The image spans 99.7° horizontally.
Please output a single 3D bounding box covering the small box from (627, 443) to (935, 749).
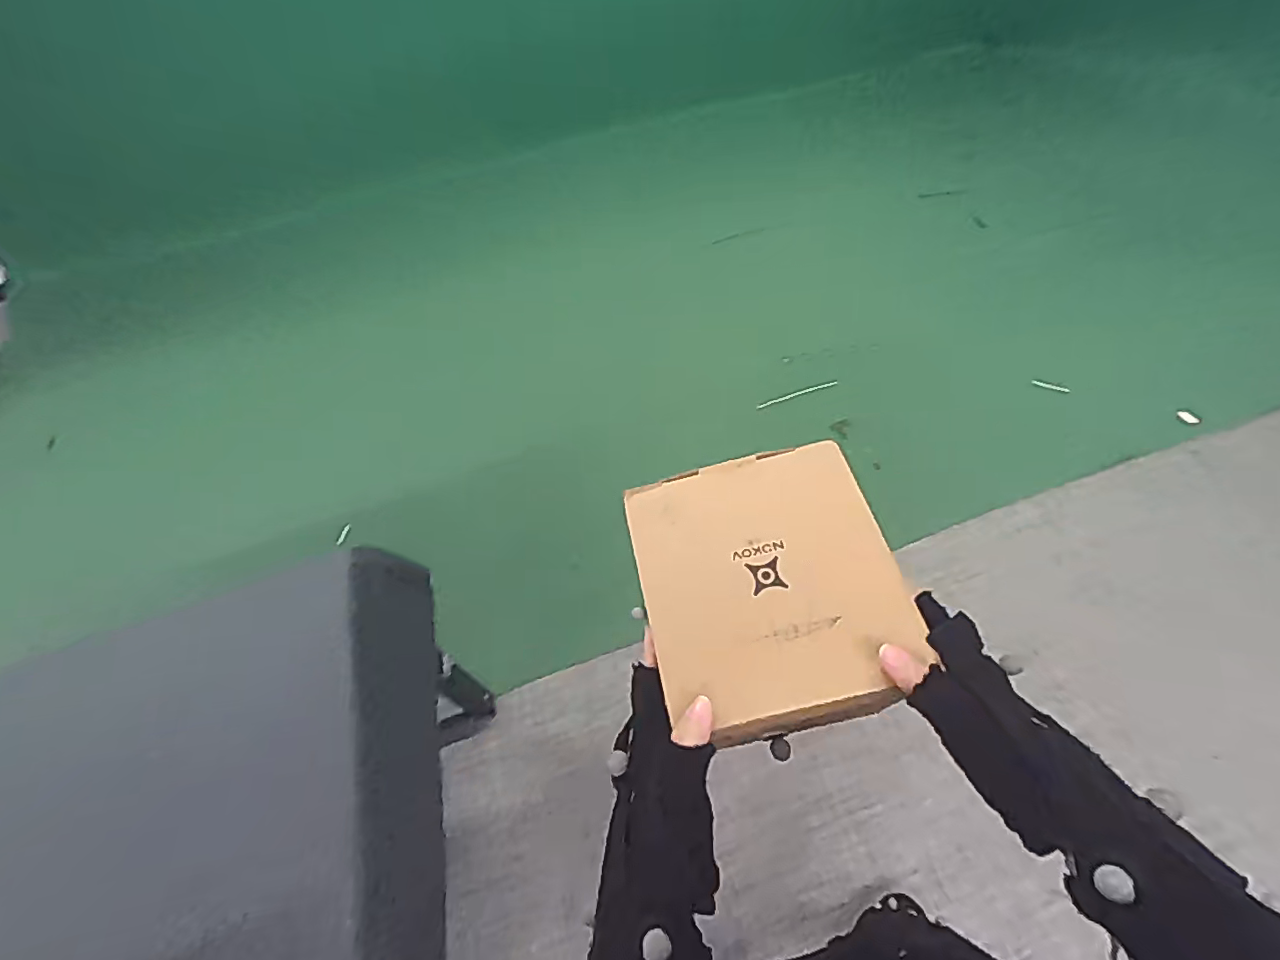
[{"bbox_3d":[0.092,0.100,0.429,0.168,0.176,0.179,-13,59,3],"label":"small box"}]
